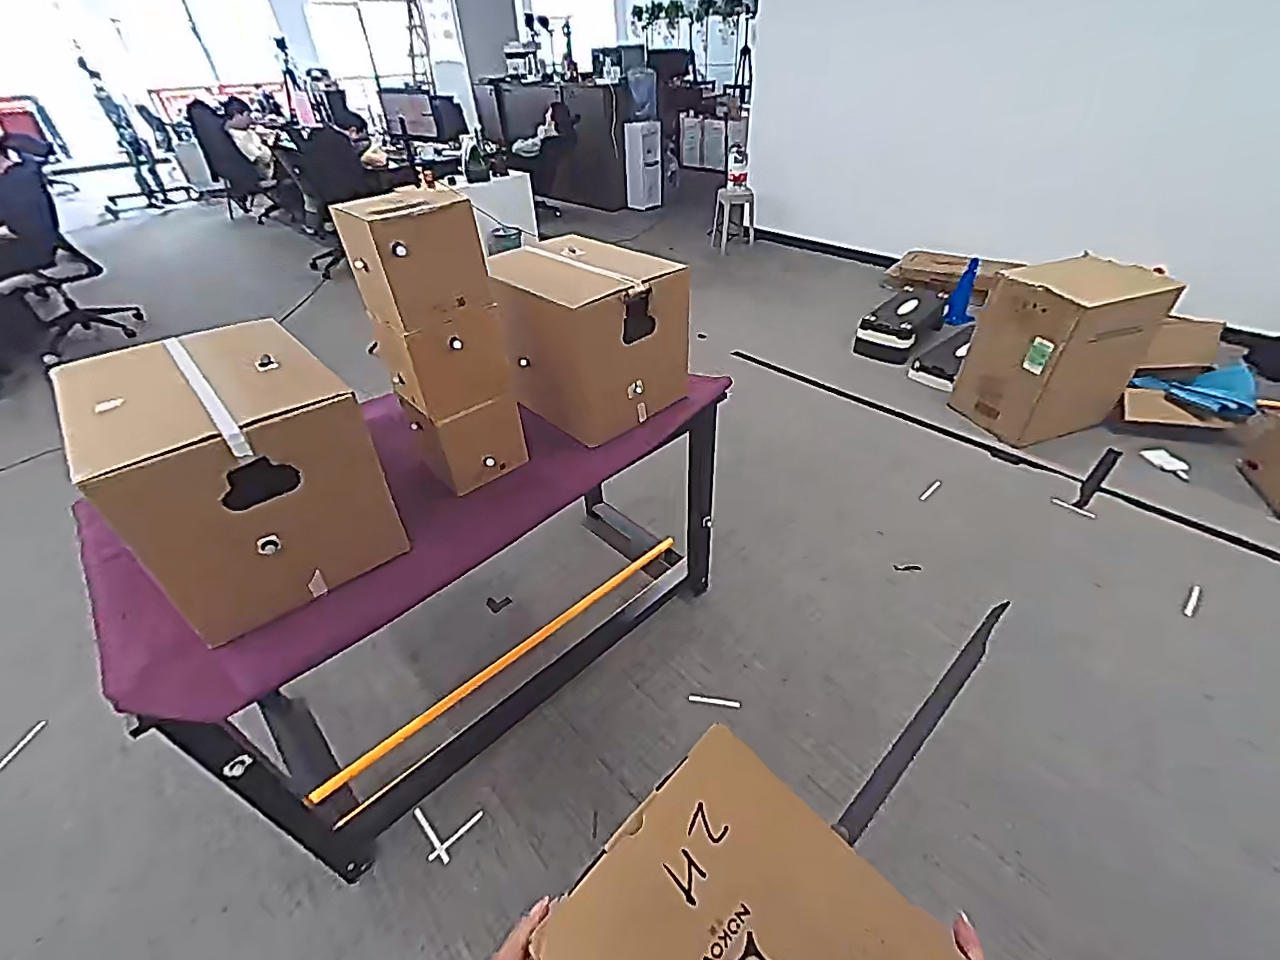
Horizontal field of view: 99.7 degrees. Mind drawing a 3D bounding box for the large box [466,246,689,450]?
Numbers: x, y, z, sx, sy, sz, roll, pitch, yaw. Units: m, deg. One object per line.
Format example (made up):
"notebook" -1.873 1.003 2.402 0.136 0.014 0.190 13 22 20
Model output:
"large box" -0.134 -0.322 1.257 0.320 0.320 0.408 -32 45 -32
